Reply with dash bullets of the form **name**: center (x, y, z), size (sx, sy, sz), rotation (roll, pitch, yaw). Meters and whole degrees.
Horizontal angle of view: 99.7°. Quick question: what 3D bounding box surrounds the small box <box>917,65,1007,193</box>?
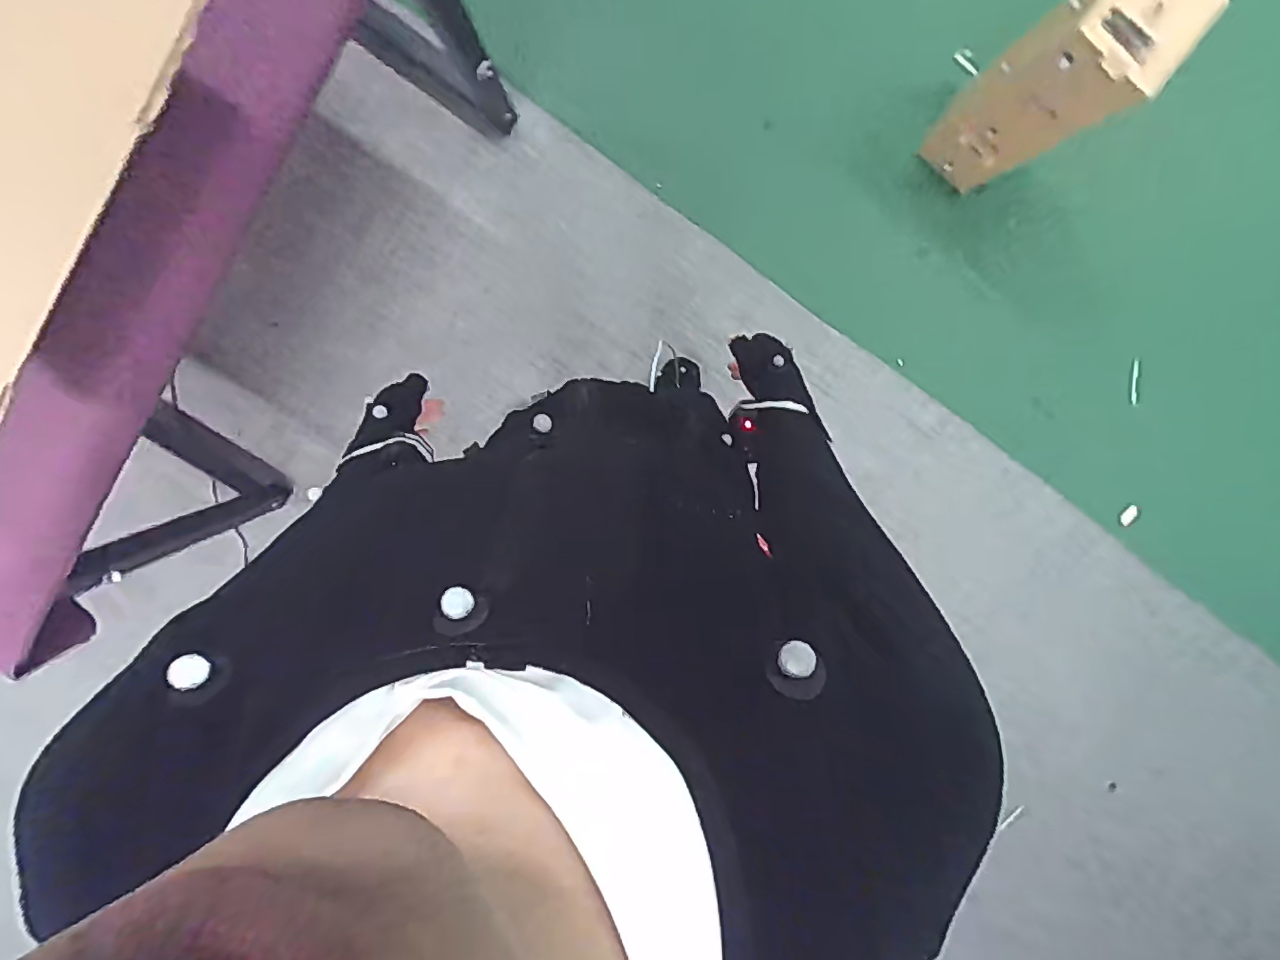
- **small box**: center (0.783, -0.804, 1.240), size (0.168, 0.176, 0.179), rotation (36, 100, -8)

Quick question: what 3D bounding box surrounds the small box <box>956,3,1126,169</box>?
- **small box**: center (0.786, -0.770, 1.081), size (0.168, 0.176, 0.179), rotation (34, 100, -8)
